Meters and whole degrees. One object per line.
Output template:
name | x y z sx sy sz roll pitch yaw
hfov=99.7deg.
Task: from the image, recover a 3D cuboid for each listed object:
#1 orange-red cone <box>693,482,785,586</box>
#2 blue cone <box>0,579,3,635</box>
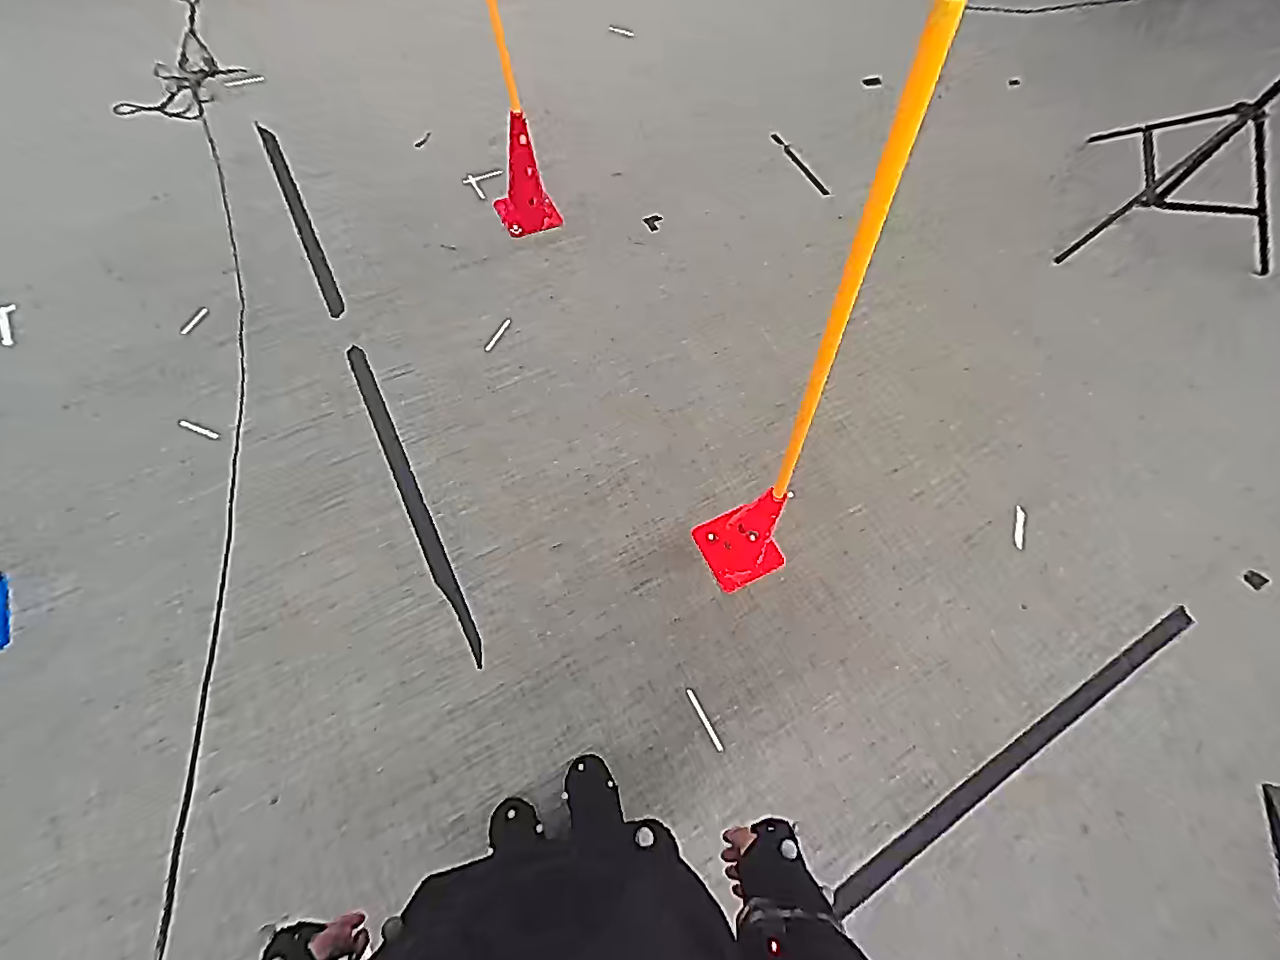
orange-red cone | 0.277 0.095 1.301 0.198 0.360 0.199 -22 69 -14
blue cone | -1.550 0.256 1.082 0.193 0.380 0.192 -22 68 -15
